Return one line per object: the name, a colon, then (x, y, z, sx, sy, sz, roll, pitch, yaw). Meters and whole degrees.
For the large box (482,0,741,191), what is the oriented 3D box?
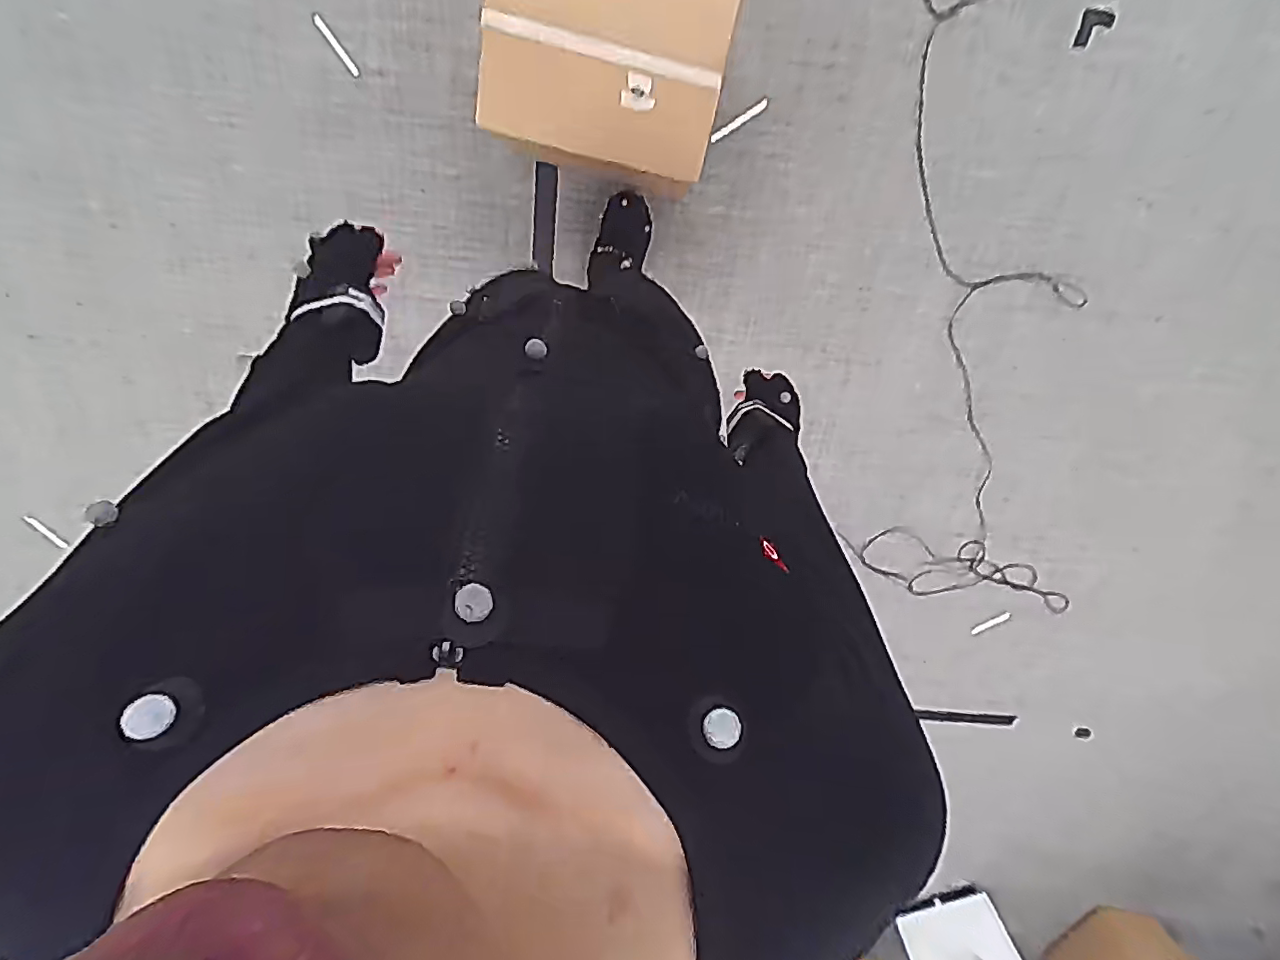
large box: (-0.058, -0.783, 1.040, 0.408, 0.320, 0.320, 11, 113, -7)
